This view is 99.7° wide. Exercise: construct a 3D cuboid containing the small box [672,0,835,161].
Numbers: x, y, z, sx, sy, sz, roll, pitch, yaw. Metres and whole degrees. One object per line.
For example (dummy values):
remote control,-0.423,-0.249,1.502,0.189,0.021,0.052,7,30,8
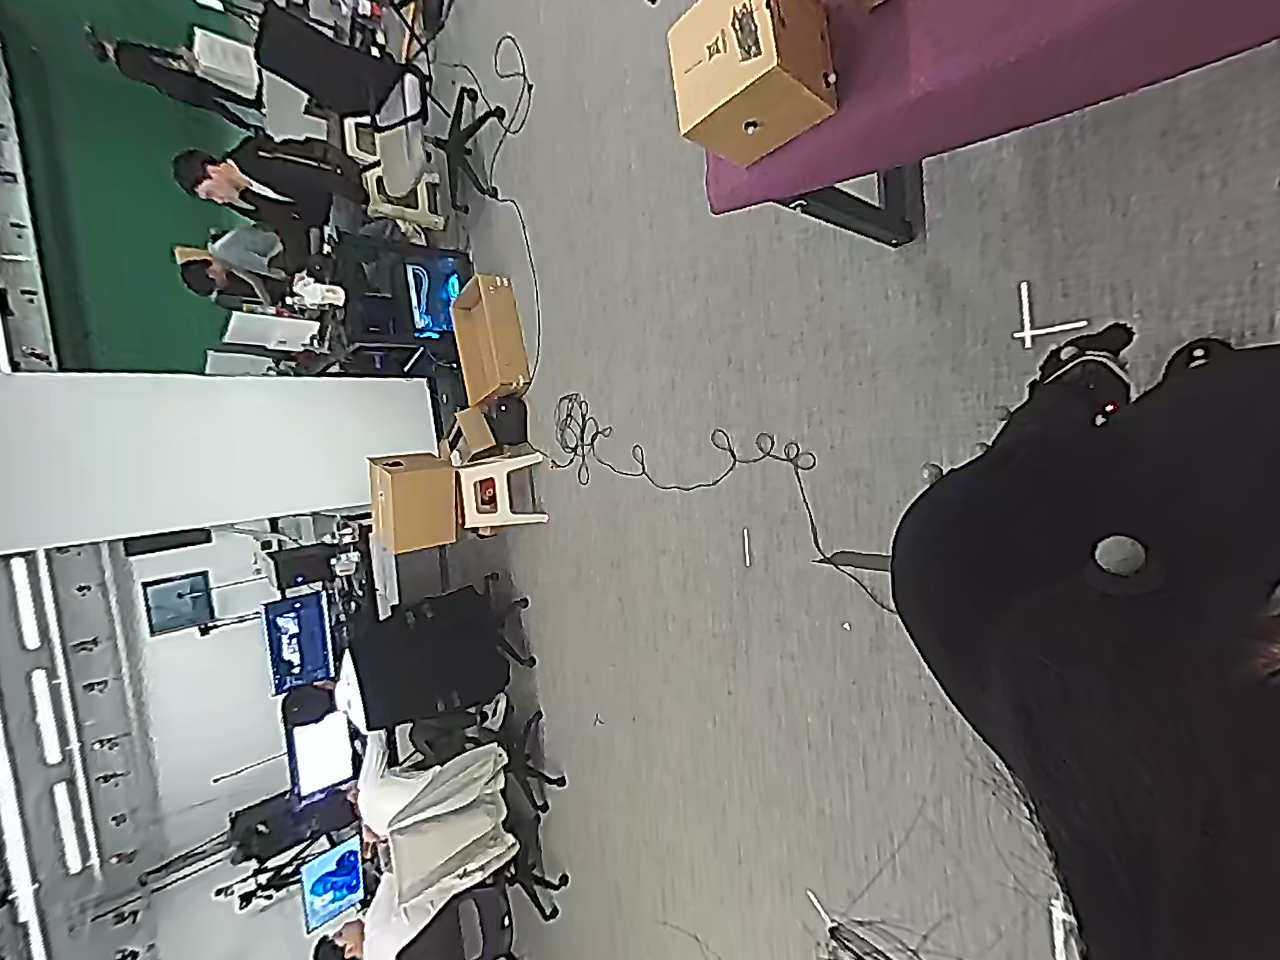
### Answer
small box,0.175,-0.620,0.811,0.179,0.176,0.168,-8,90,48
